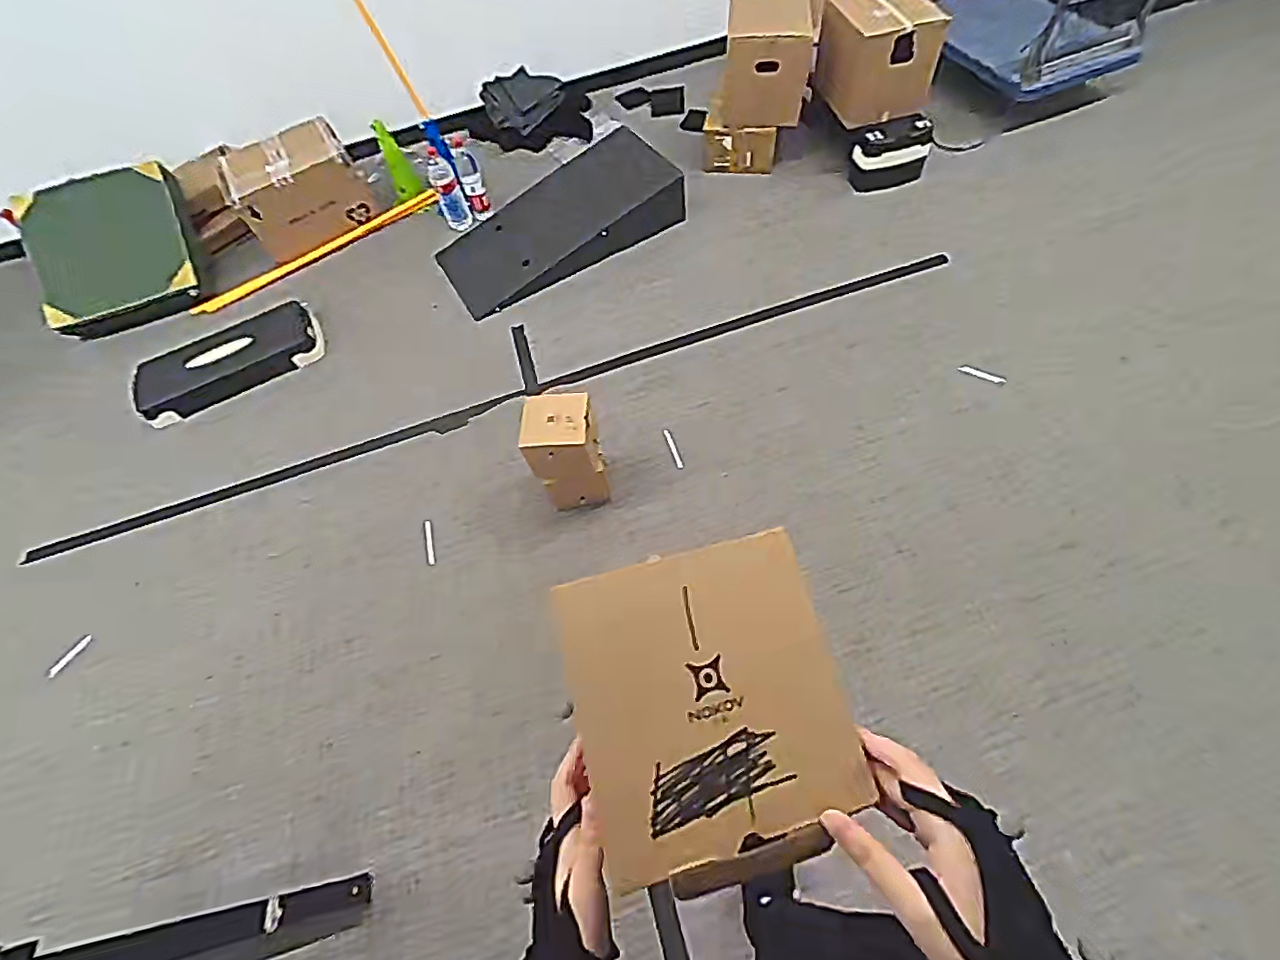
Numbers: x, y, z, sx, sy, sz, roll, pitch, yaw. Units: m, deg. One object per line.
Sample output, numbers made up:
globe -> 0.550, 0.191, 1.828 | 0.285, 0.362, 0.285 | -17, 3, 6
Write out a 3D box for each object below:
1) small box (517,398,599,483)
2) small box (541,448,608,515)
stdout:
small box -> -0.216, -0.102, 1.469 | 0.179, 0.176, 0.168 | -3, 60, 6
small box -> -0.196, -0.016, 1.609 | 0.179, 0.176, 0.168 | -13, 59, -2
